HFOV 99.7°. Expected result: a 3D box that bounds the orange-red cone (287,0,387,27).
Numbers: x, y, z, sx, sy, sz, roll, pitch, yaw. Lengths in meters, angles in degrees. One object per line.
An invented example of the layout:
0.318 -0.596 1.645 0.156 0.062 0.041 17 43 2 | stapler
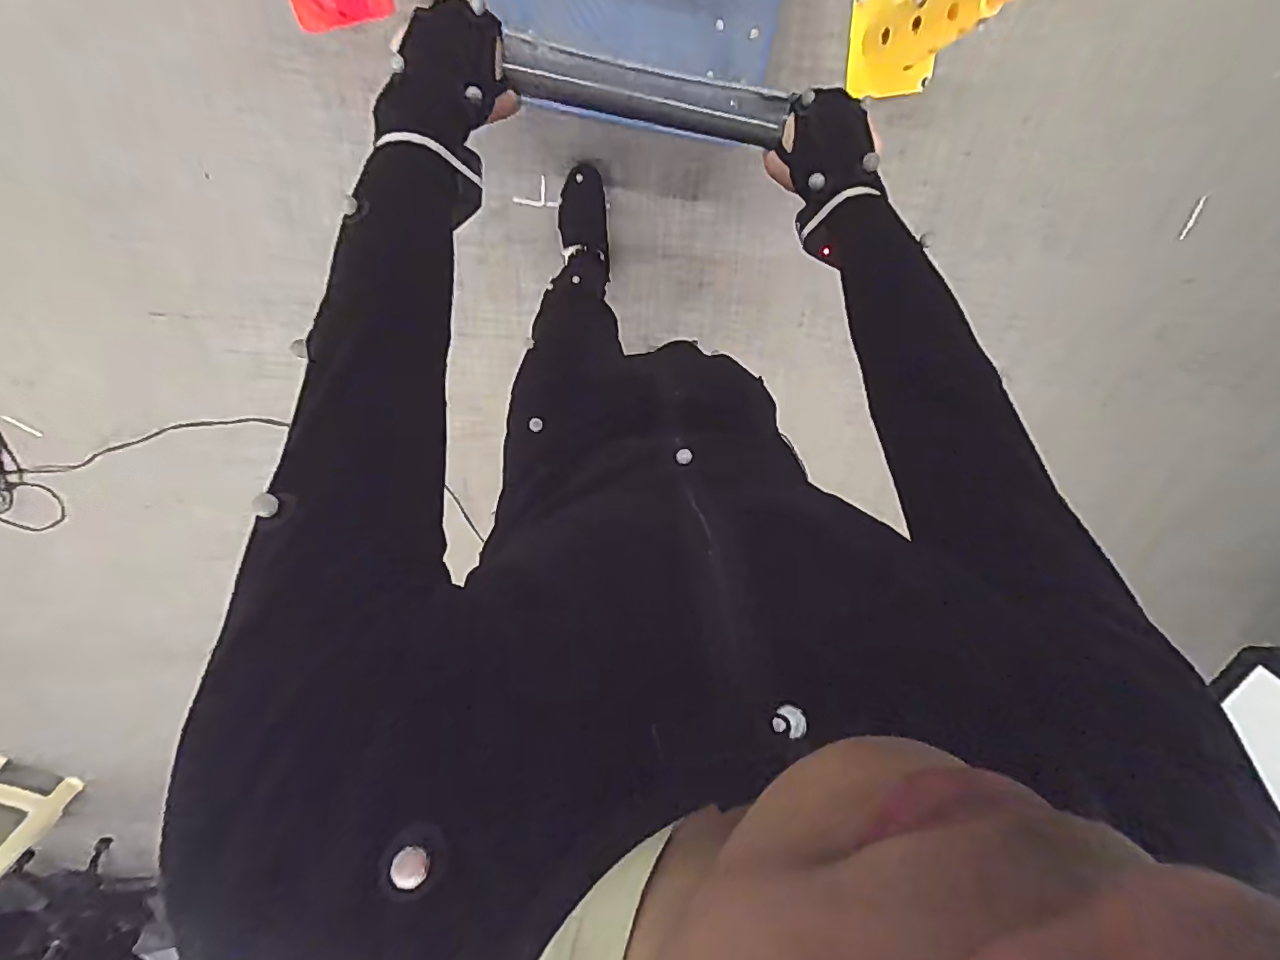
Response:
-0.601 -0.927 0.901 0.199 0.360 0.198 -10 121 1 | orange-red cone
